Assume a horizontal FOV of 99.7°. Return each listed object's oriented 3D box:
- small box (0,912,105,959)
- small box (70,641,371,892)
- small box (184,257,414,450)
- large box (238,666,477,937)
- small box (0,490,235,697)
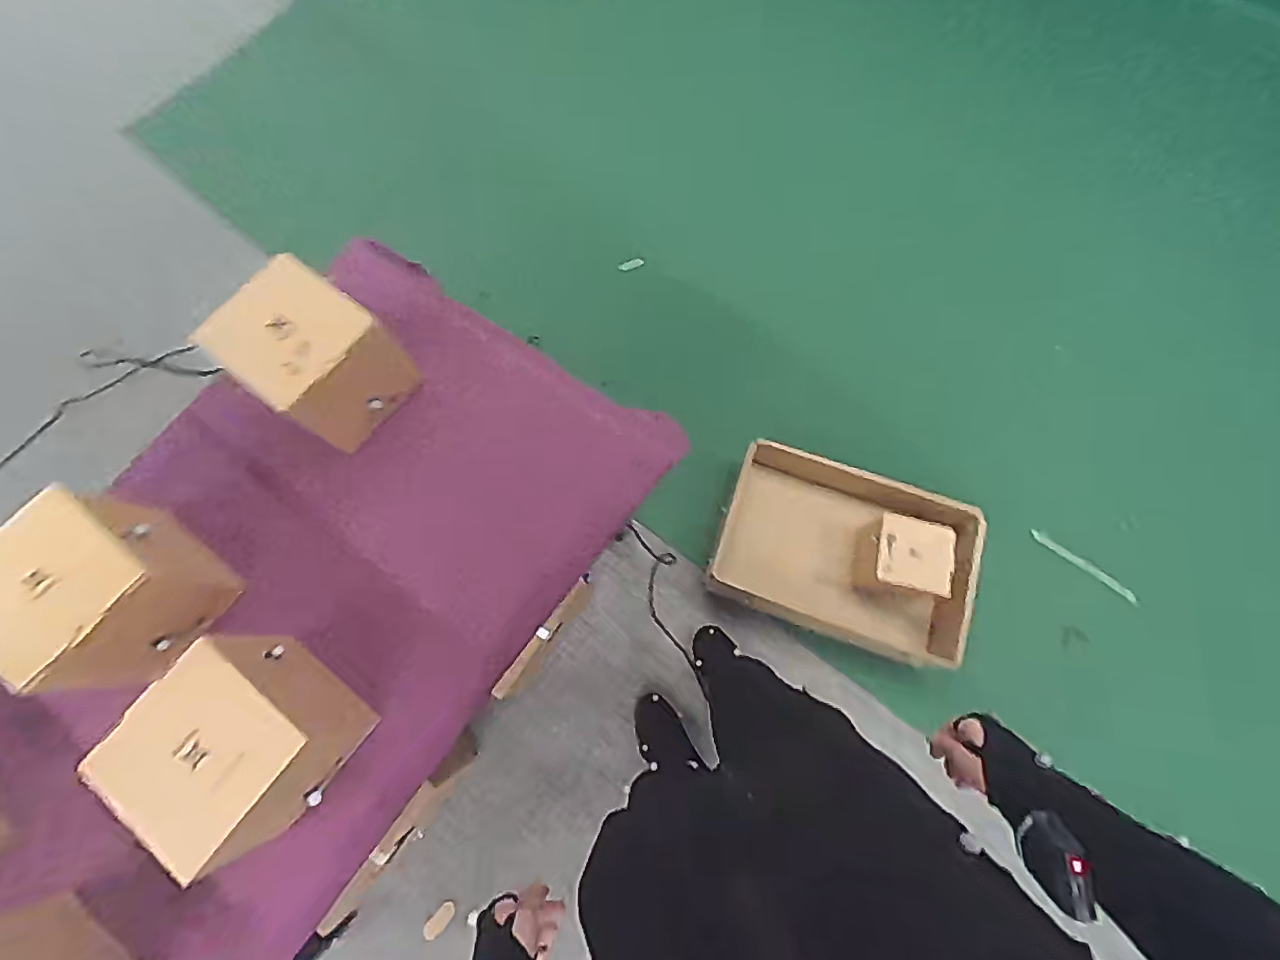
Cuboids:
[{"bbox_3d":[-0.672,0.591,0.538,0.179,0.176,0.168,33,75,11],"label":"small box"},{"bbox_3d":[-0.461,0.309,0.625,0.179,0.176,0.168,36,77,10],"label":"small box"},{"bbox_3d":[-0.464,-0.166,0.765,0.179,0.176,0.168,36,78,9],"label":"small box"},{"bbox_3d":[-0.651,0.667,1.208,0.408,0.320,0.320,34,75,11],"label":"large box"},{"bbox_3d":[-0.676,0.144,0.676,0.179,0.176,0.168,37,76,9],"label":"small box"}]
